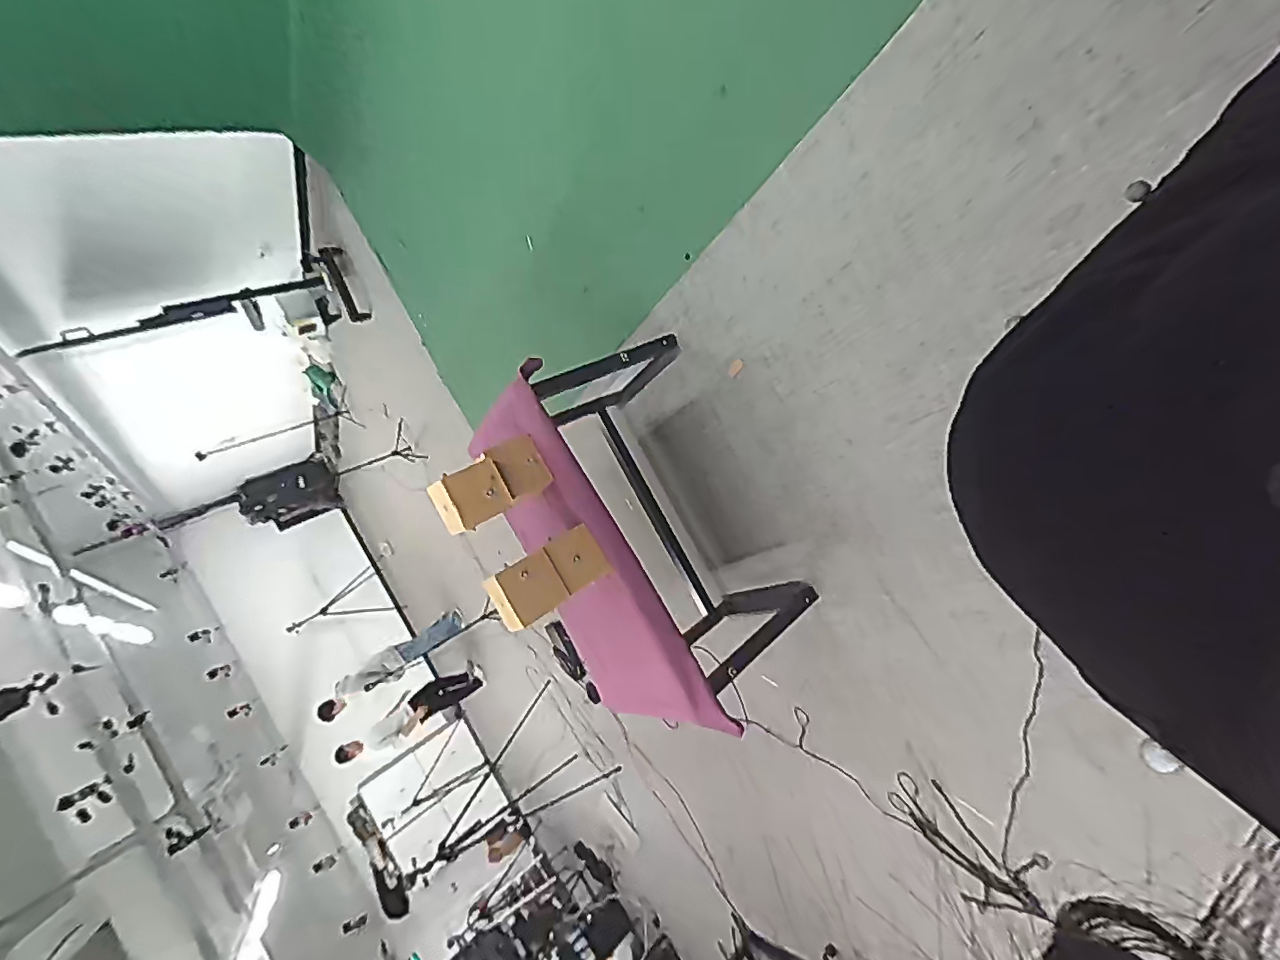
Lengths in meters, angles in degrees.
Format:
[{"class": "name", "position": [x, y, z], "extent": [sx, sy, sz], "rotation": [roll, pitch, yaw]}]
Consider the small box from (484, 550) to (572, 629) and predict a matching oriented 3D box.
[{"class": "small box", "position": [-0.332, 0.322, 1.609], "extent": [0.179, 0.176, 0.168], "rotation": [60, 148, 1]}]

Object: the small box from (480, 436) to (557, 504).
[{"class": "small box", "position": [-0.398, -0.026, 1.750], "extent": [0.179, 0.176, 0.168], "rotation": [61, 147, 2]}]

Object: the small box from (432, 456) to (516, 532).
[{"class": "small box", "position": [-0.503, 0.044, 1.643], "extent": [0.179, 0.176, 0.168], "rotation": [-19, 98, 55]}]
